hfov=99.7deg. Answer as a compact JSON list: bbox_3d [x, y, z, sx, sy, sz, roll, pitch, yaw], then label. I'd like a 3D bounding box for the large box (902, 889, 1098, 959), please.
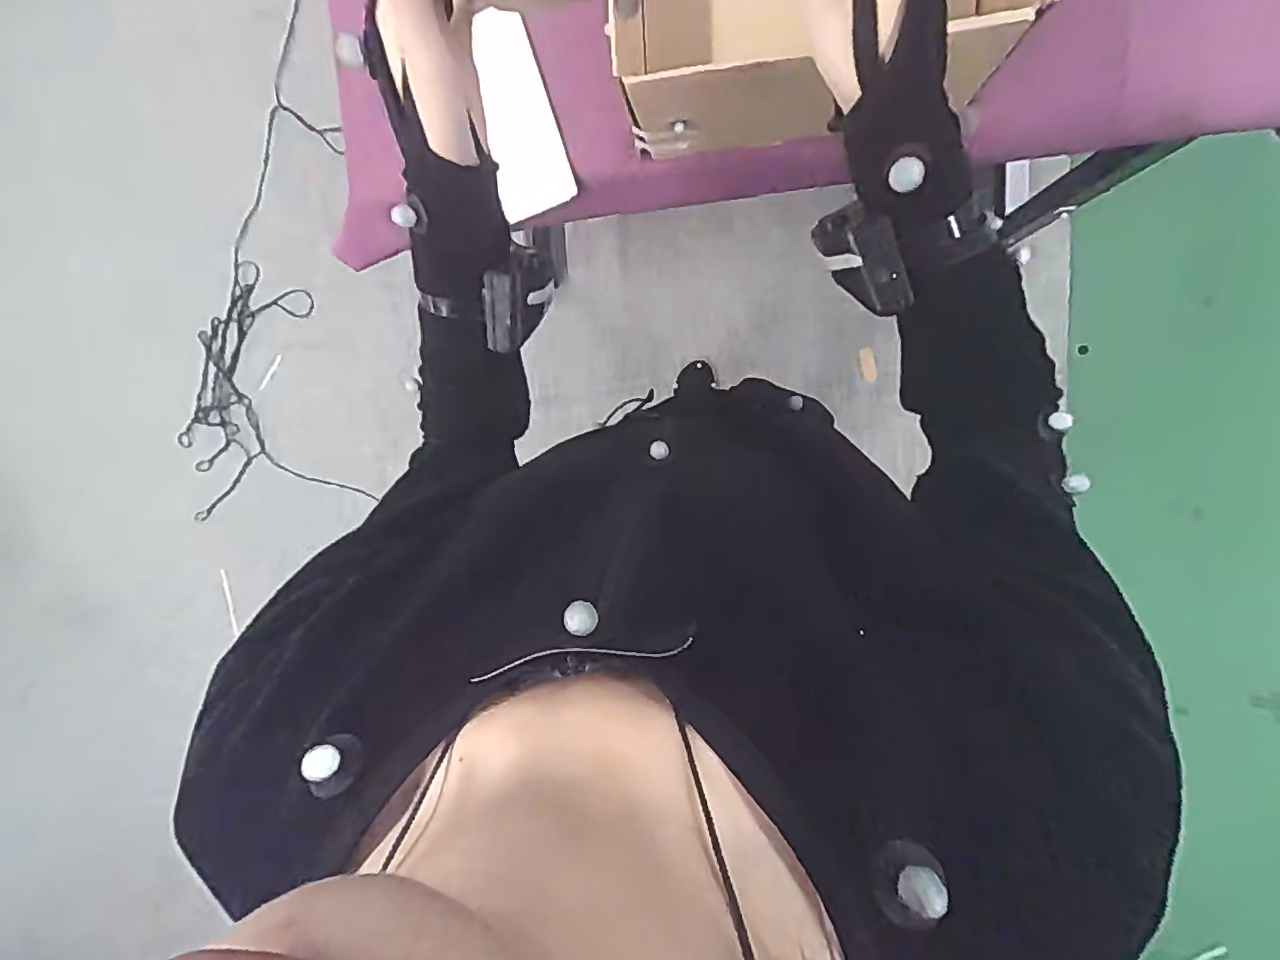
[{"bbox_3d":[0.959,1.336,1.379,0.408,0.320,0.320,-18,95,10],"label":"large box"}]

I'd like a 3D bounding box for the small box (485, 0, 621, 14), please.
[{"bbox_3d":[-0.020,-0.337,0.239,0.179,0.176,0.168,-4,122,8],"label":"small box"}]
